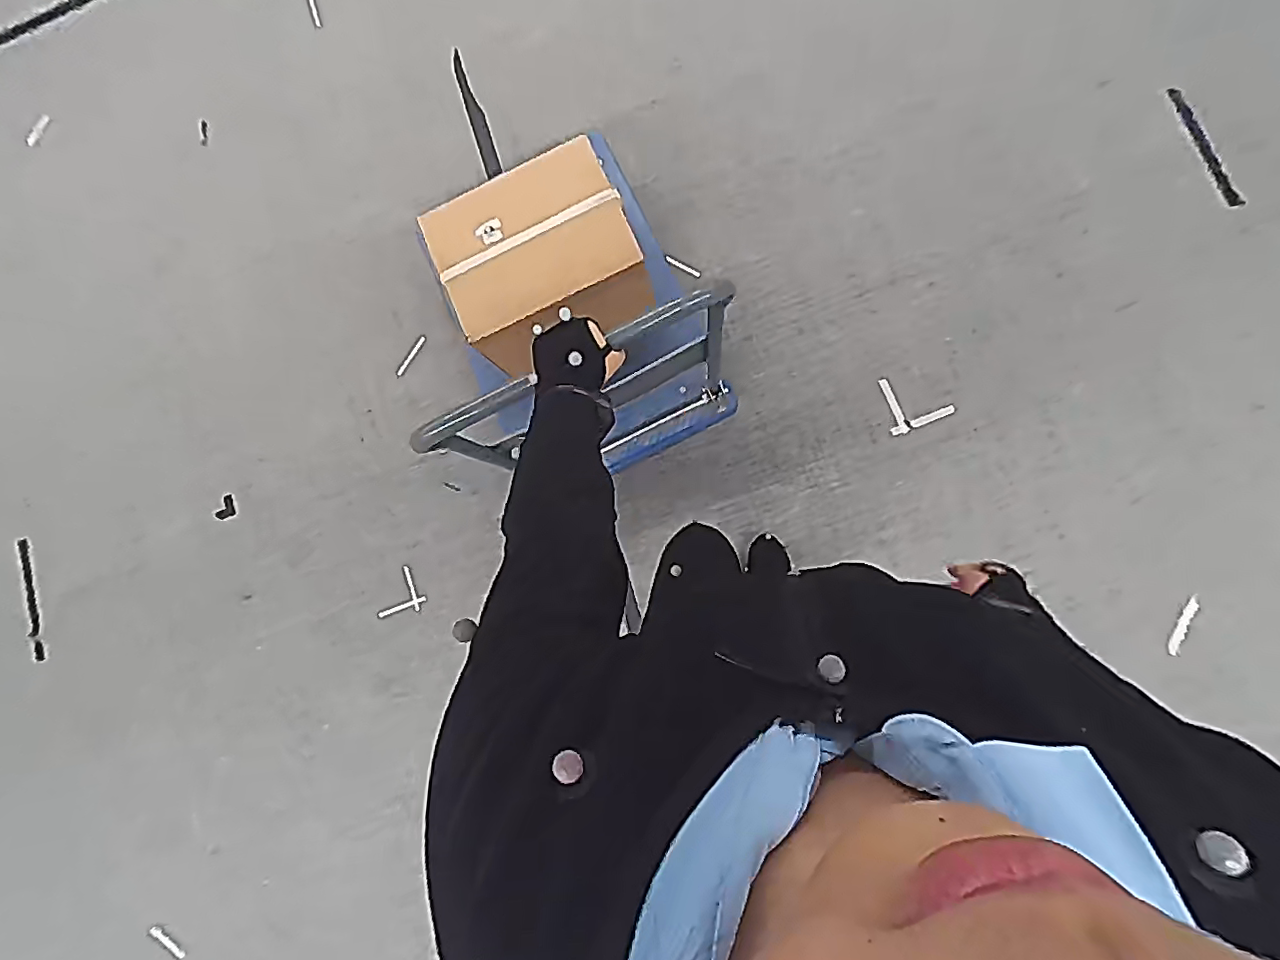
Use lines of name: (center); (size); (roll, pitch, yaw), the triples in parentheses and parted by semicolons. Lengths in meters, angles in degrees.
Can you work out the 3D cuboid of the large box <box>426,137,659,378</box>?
large box: (-0.208, -0.494, 1.285); (0.408, 0.320, 0.320); (-25, 82, 5)
